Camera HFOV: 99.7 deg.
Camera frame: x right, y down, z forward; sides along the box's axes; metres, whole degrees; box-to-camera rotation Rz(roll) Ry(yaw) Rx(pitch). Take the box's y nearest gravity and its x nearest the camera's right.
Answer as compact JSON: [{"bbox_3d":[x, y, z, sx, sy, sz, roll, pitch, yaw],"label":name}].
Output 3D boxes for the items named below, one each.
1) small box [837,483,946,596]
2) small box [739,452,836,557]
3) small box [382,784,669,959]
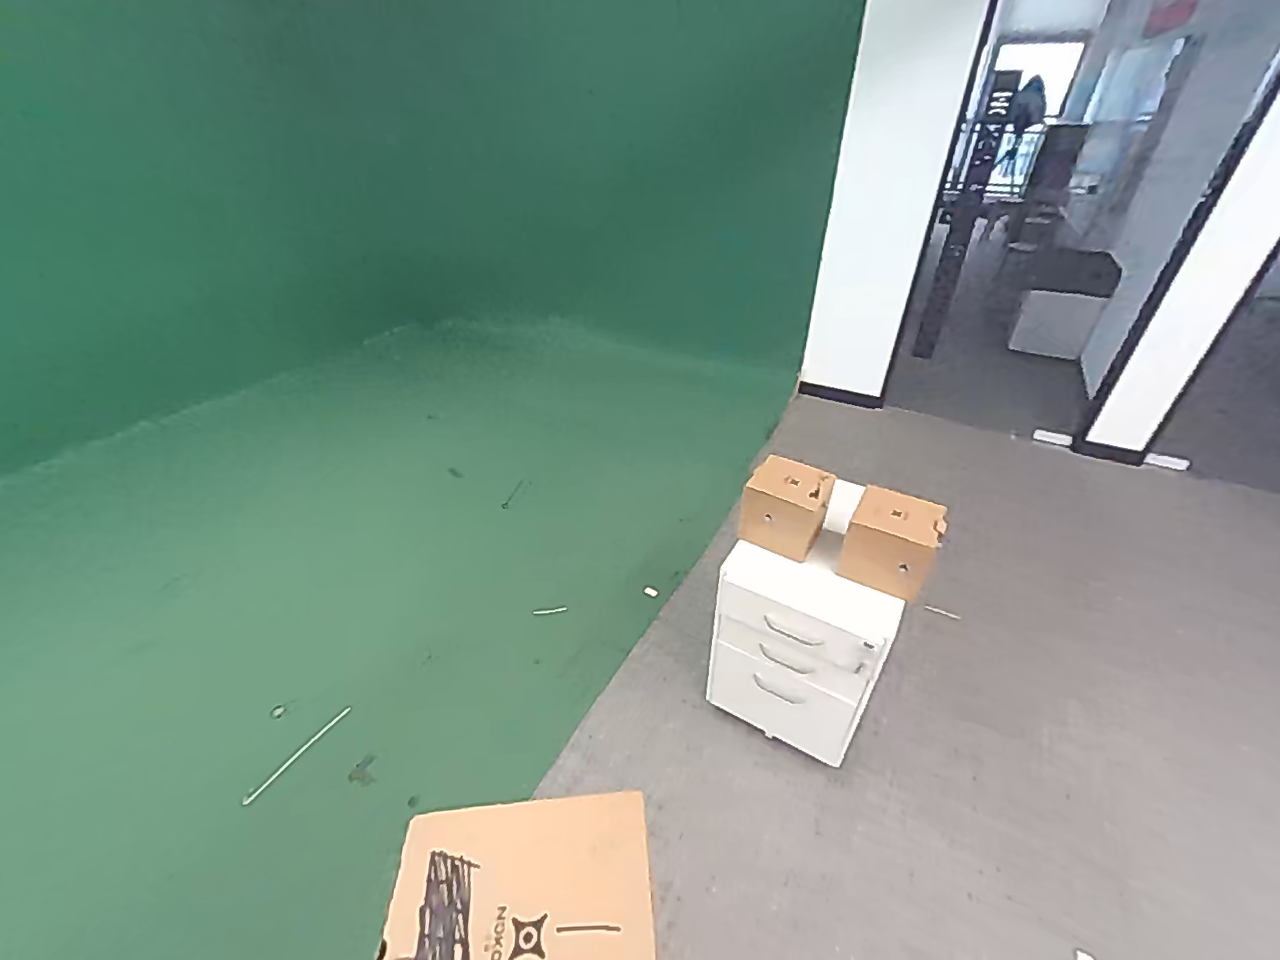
[{"bbox_3d":[0.570,0.137,1.234,0.179,0.176,0.168,18,39,26],"label":"small box"},{"bbox_3d":[0.359,0.061,1.336,0.179,0.176,0.168,21,42,25],"label":"small box"},{"bbox_3d":[-0.068,0.349,0.381,0.179,0.176,0.168,-5,32,-2],"label":"small box"}]
